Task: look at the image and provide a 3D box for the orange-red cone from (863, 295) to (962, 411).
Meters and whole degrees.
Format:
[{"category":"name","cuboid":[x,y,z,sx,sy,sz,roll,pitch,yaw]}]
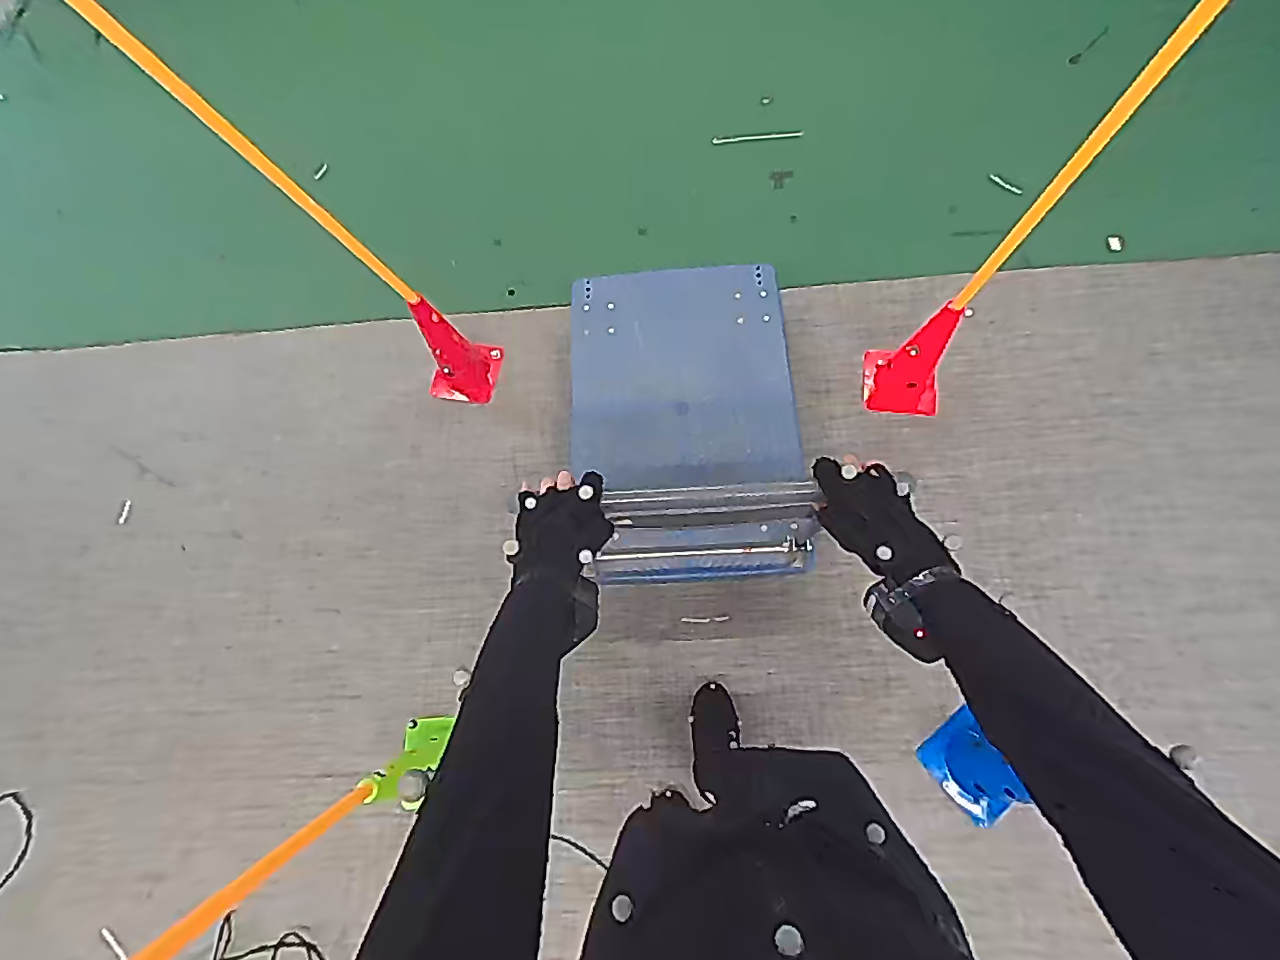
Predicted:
[{"category":"orange-red cone","cuboid":[0.728,-0.345,1.385,0.198,0.360,0.199,7,73,8]}]
